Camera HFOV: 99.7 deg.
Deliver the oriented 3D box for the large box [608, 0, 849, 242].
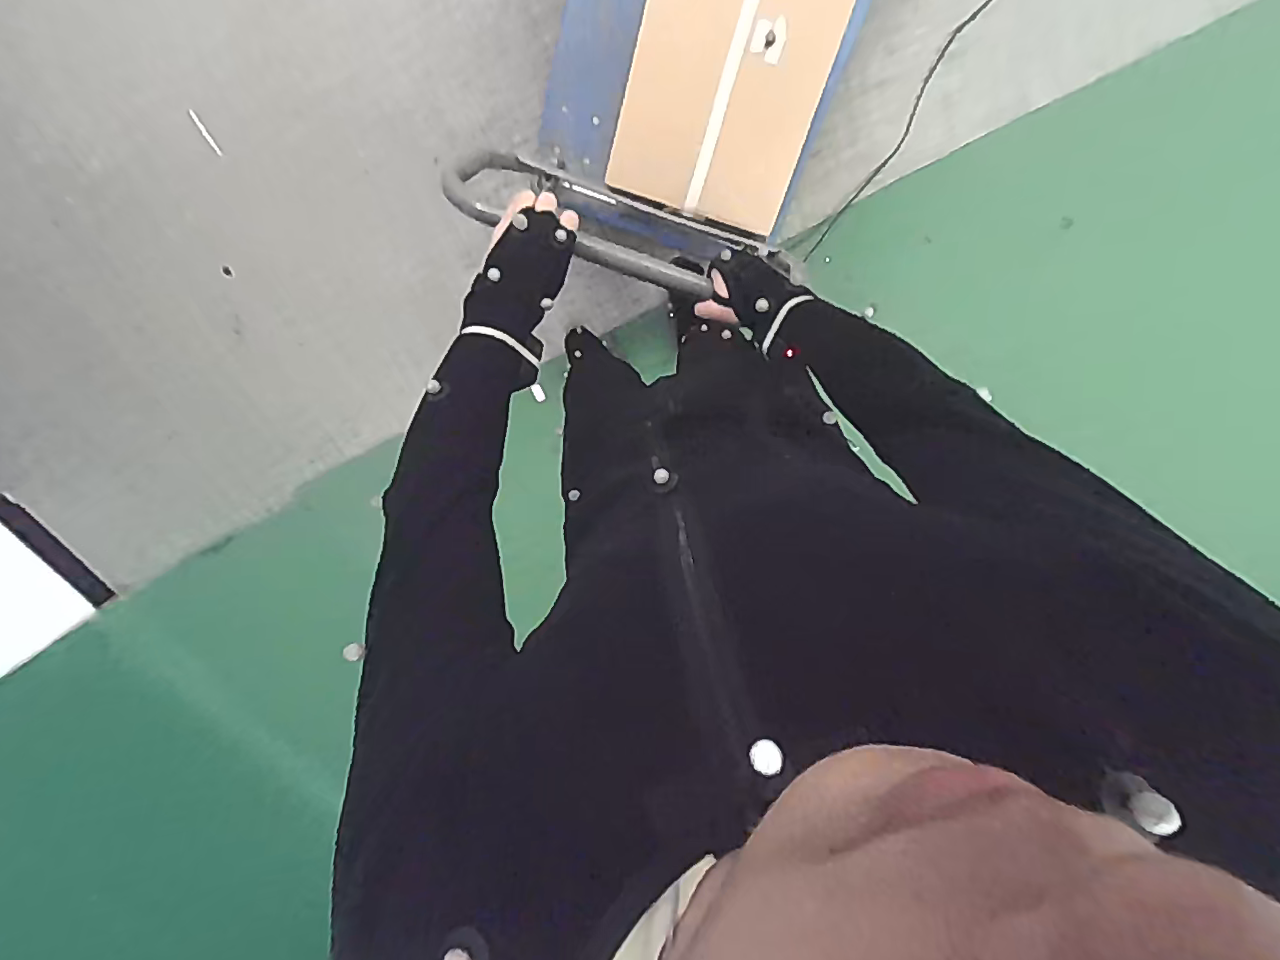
[{"bbox_3d":[0.146,-0.713,1.047,0.320,0.320,0.408,16,113,-5],"label":"large box"}]
